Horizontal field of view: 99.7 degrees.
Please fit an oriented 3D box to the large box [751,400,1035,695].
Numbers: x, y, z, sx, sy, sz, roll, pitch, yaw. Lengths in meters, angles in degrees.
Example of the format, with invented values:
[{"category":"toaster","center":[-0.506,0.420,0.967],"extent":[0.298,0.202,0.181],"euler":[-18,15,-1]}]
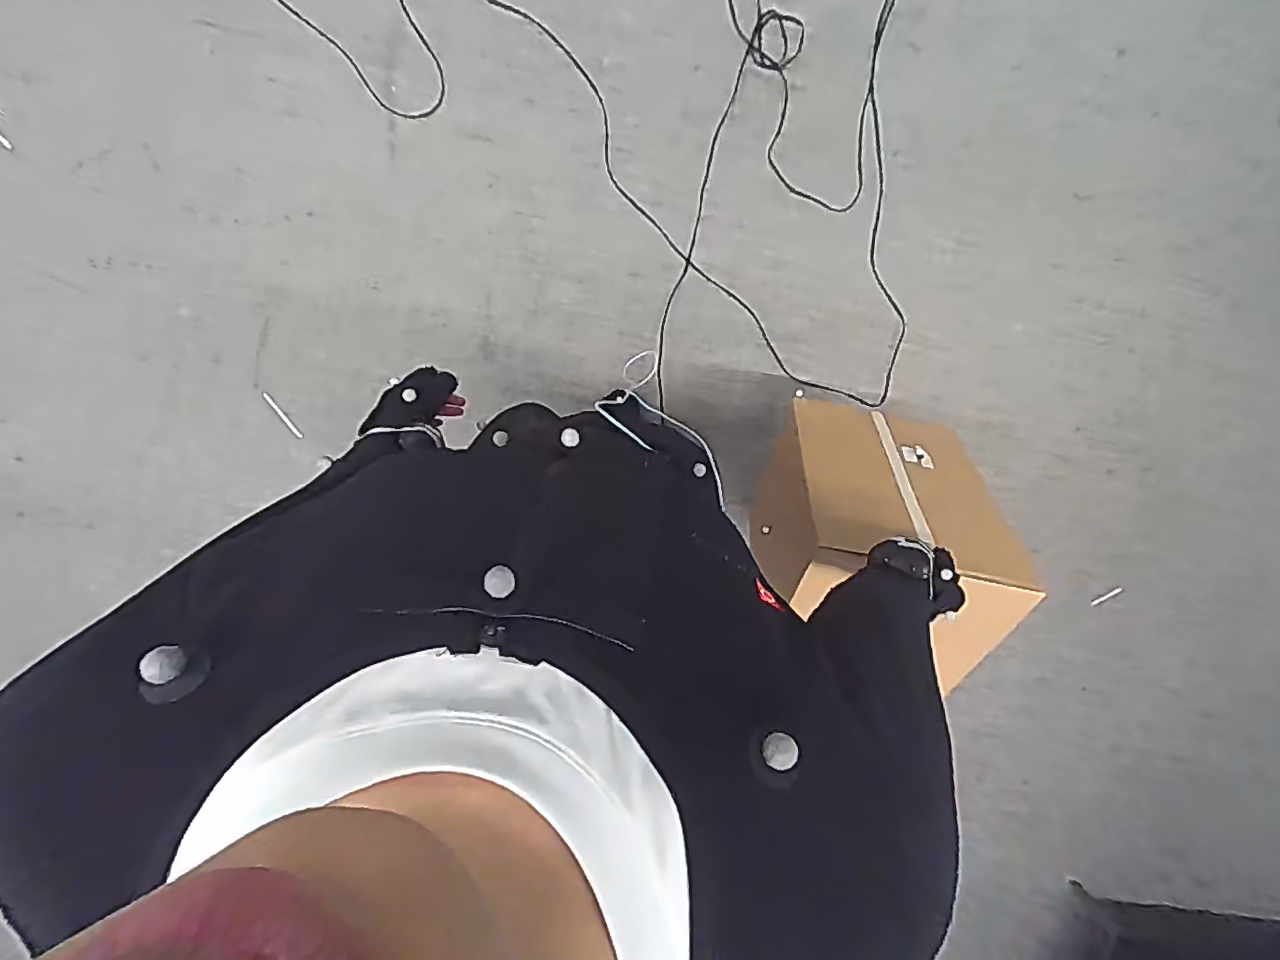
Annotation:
[{"category":"large box","center":[0.394,0.110,0.979],"extent":[0.320,0.408,0.320],"euler":[12,129,0]}]
